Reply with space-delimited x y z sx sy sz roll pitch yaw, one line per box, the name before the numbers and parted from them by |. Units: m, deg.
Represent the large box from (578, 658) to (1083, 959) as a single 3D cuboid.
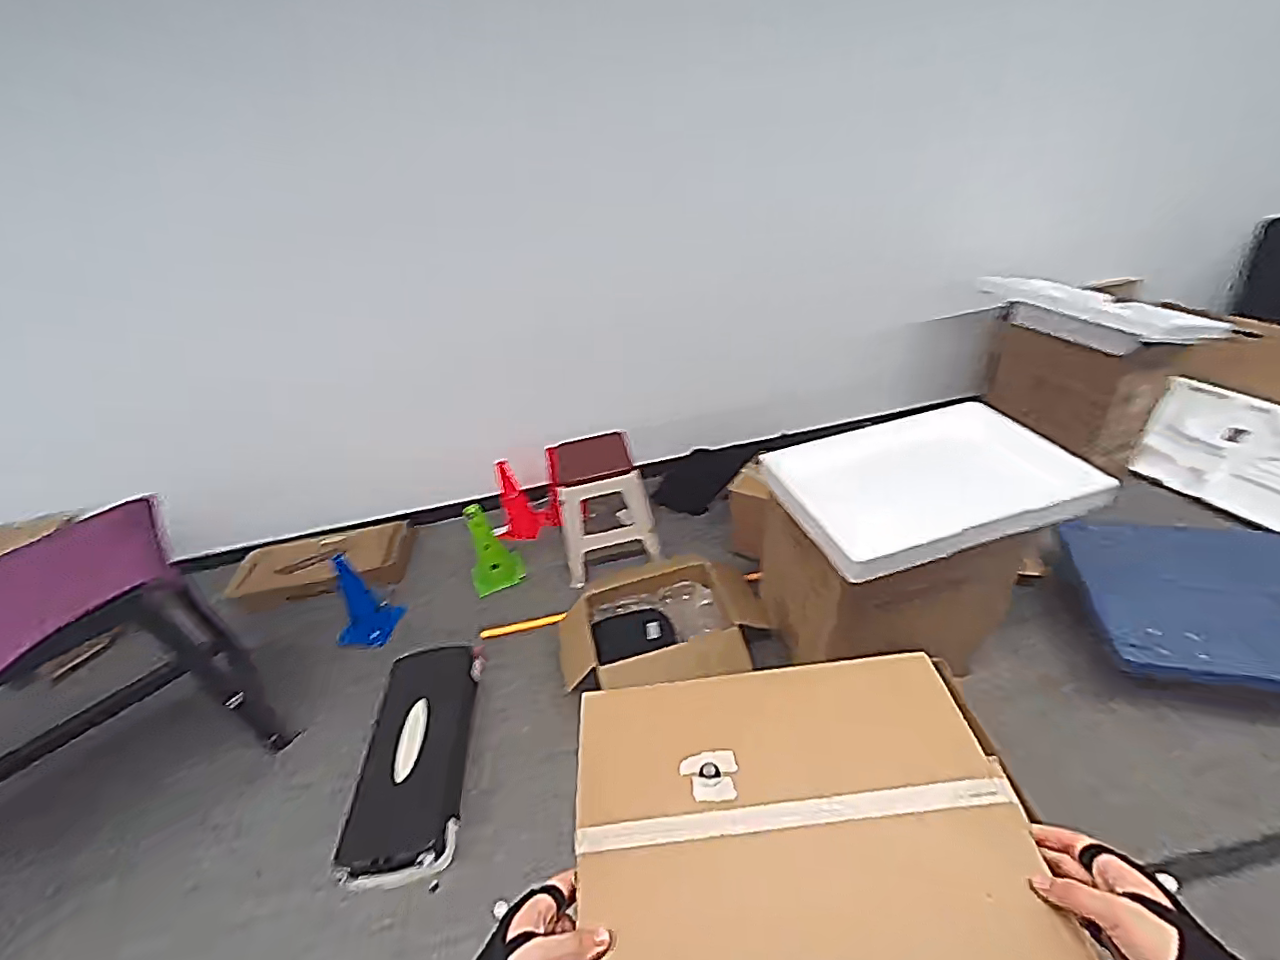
large box | 0.161 0.448 0.604 0.408 0.320 0.320 -10 36 2
